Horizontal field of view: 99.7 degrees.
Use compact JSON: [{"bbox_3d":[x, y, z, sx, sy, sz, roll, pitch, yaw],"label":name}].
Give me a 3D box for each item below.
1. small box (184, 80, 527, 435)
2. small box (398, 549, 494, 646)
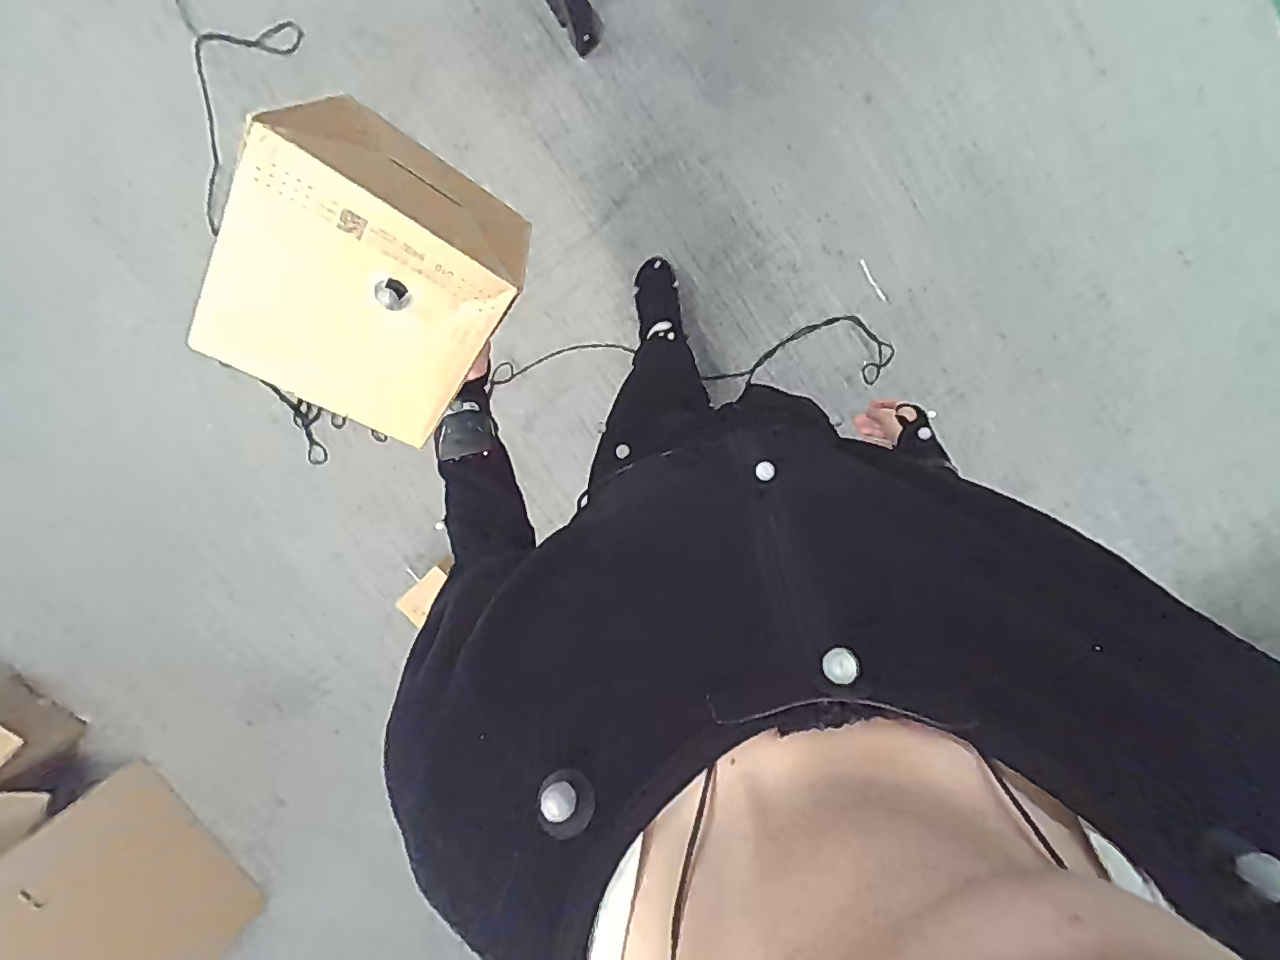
[{"bbox_3d":[-0.202,-0.175,0.427,0.168,0.179,0.176,28,120,-27],"label":"small box"},{"bbox_3d":[-0.538,0.326,1.537,0.179,0.176,0.168,-41,97,11],"label":"small box"}]
